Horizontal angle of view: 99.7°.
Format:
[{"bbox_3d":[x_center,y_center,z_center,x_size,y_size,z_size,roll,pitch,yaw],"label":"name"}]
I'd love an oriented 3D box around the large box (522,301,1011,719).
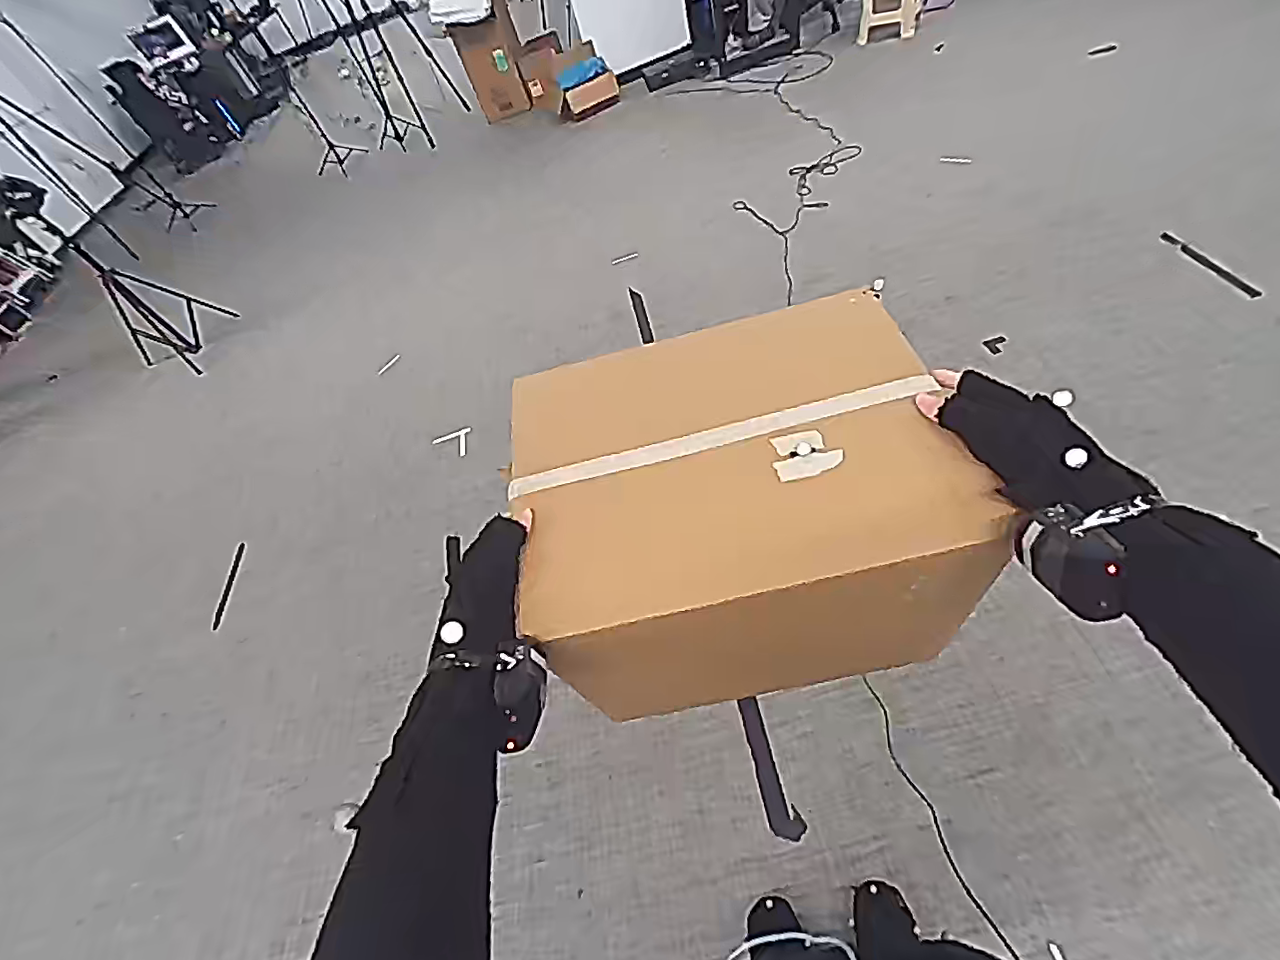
[{"bbox_3d":[0.106,0.052,0.641,0.408,0.320,0.320,-14,54,4],"label":"large box"}]
